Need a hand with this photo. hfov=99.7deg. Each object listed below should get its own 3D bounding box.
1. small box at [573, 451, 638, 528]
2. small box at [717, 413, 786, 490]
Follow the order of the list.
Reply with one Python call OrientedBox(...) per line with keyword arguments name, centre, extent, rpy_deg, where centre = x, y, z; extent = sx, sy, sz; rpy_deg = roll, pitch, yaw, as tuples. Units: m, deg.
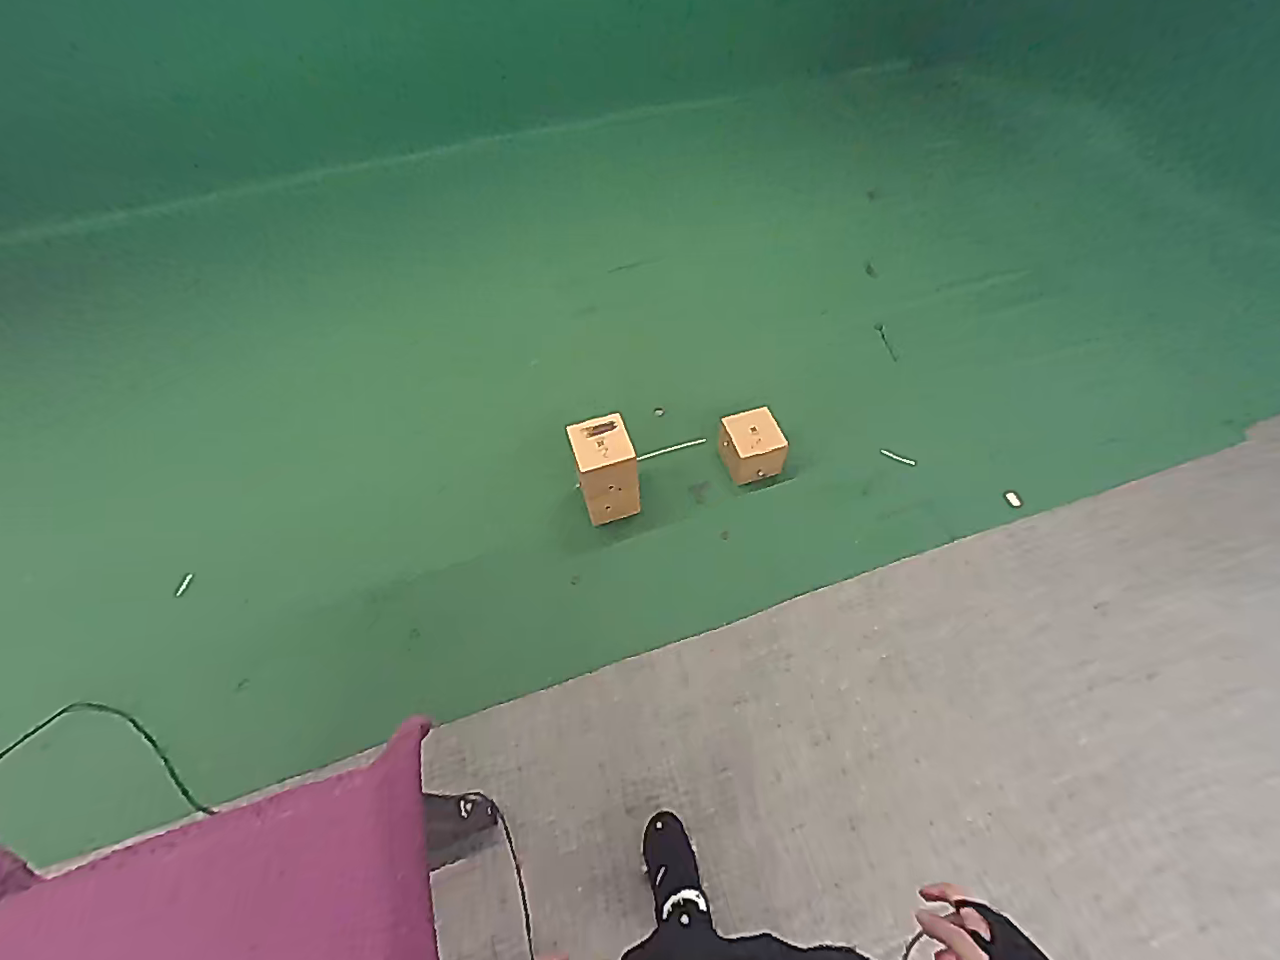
OrientedBox(name="small box", centre=(-0.109, 0.038, 1.771), extent=(0.168, 0.176, 0.179), rpy_deg=(-16, 57, -9))
OrientedBox(name="small box", centre=(0.370, -0.095, 1.843), extent=(0.168, 0.176, 0.179), rpy_deg=(-15, 58, -8))
